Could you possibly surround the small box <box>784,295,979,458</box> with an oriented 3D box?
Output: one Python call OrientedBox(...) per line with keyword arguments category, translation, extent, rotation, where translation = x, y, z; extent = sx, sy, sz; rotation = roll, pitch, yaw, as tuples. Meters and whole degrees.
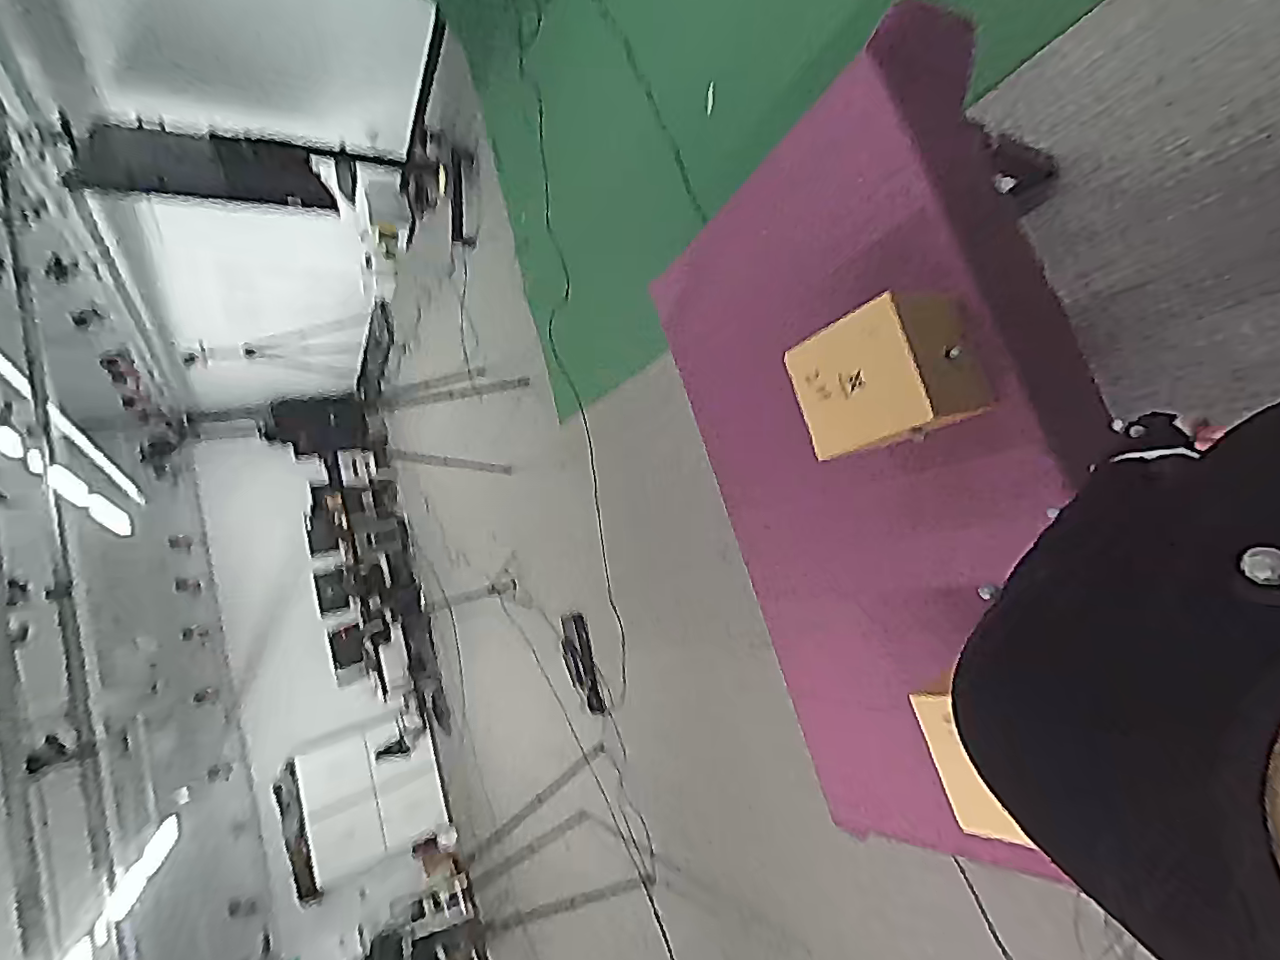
OrientedBox(category="small box", translation=(0.343, -0.143, 0.762), extent=(0.179, 0.176, 0.168), rotation=(-26, 78, 55))
